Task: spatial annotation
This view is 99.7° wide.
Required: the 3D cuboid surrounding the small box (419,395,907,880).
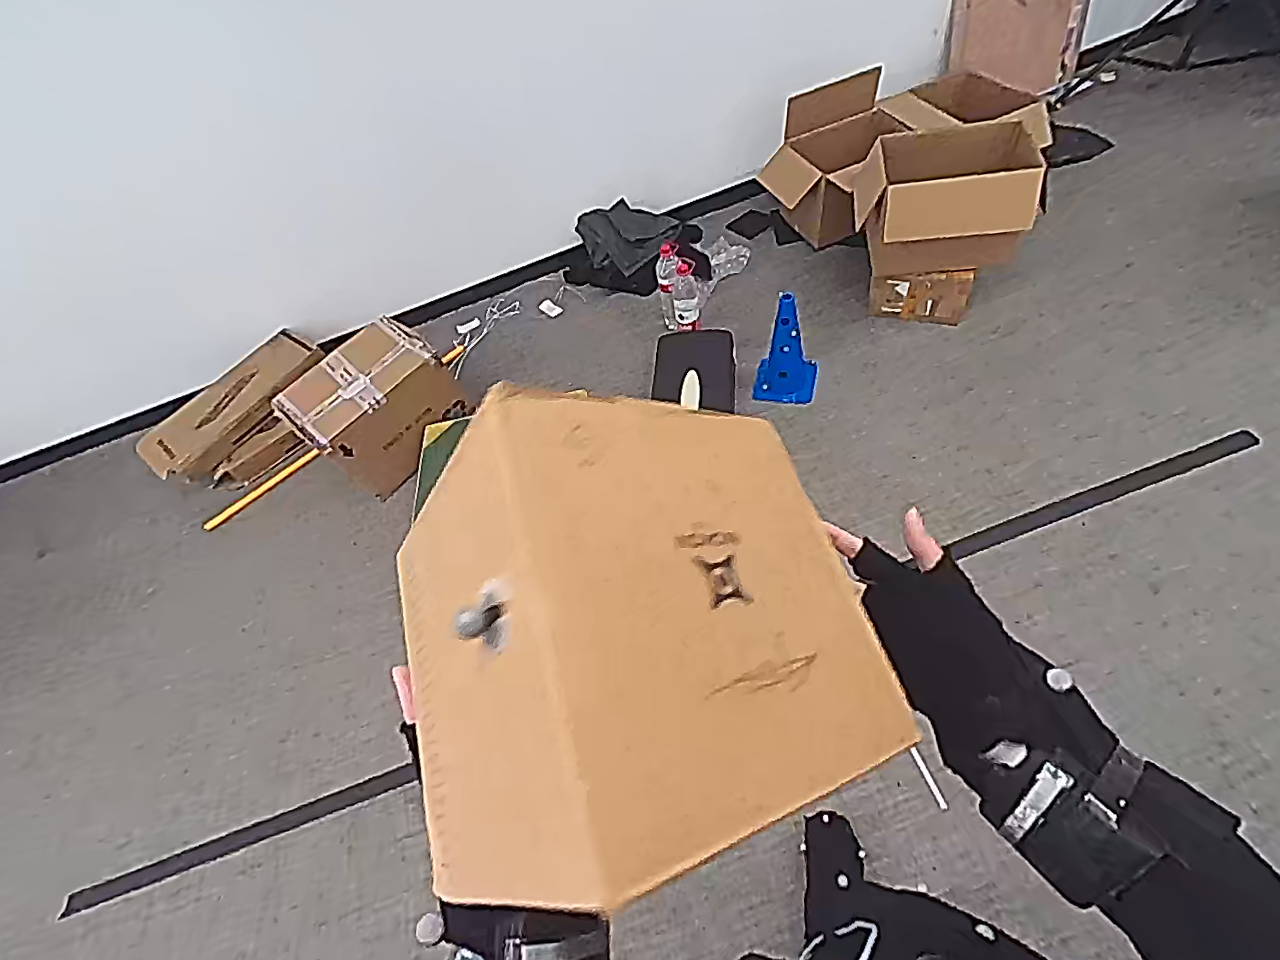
[{"bbox_3d":[-0.008,0.083,0.290,0.168,0.176,0.179,3,57,-38],"label":"small box"}]
